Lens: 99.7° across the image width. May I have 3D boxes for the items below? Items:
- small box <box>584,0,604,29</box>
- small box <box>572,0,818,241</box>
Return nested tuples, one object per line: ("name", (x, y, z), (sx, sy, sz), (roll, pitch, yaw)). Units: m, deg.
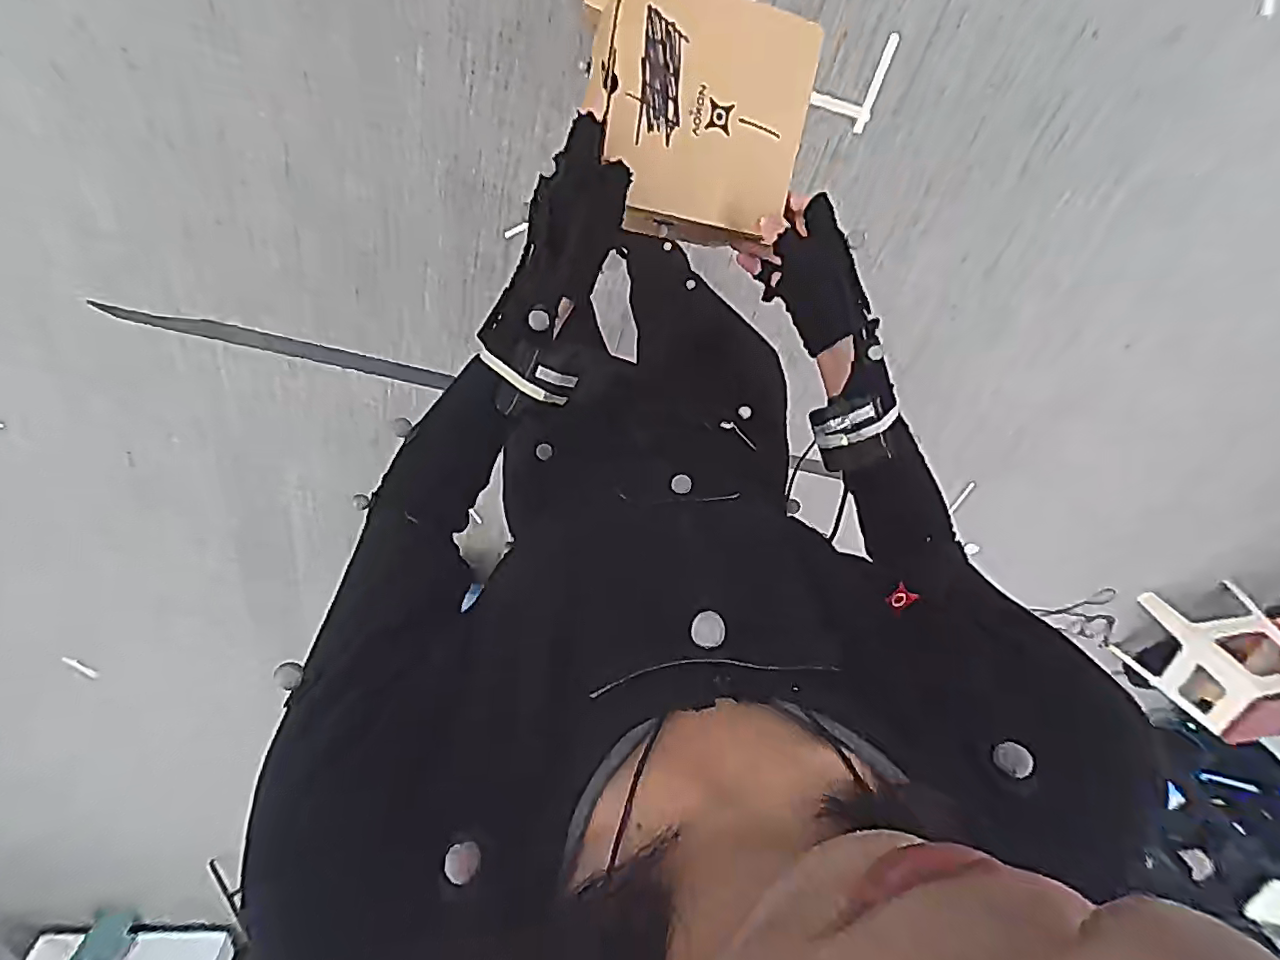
("small box", (0.013, -0.783, 0.827), (0.168, 0.176, 0.179), (14, 122, -15))
("small box", (0.034, -0.336, 0.523), (0.179, 0.176, 0.168), (5, 109, -15))
